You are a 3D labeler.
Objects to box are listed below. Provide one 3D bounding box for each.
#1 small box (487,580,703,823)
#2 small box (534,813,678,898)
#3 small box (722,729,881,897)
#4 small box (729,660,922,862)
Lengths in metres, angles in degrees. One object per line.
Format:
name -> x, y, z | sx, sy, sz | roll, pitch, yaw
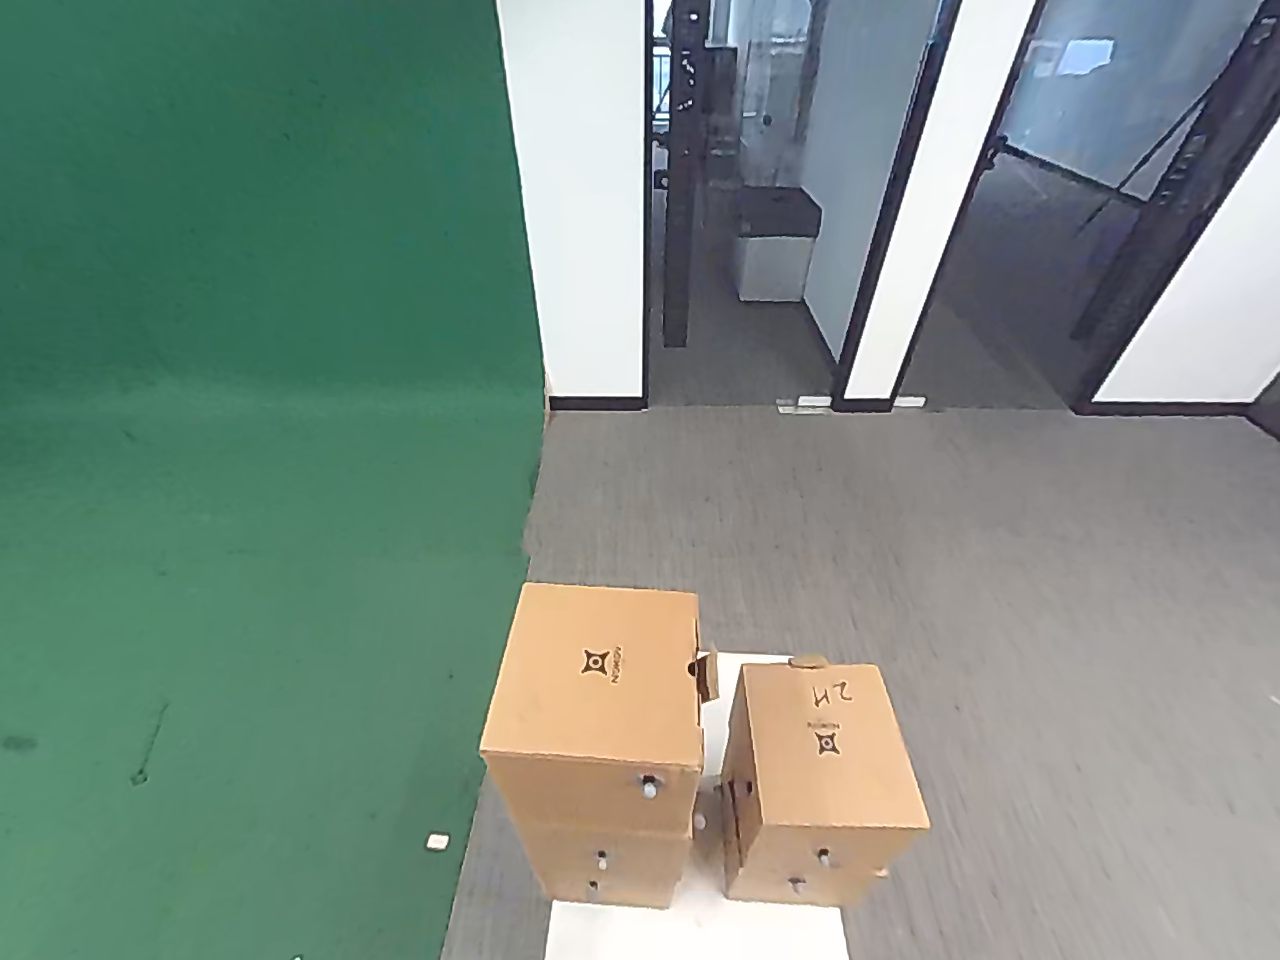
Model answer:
small box -> -0.034, 0.220, 0.538 | 0.179, 0.176, 0.168 | 4, 41, 1
small box -> -0.038, 0.464, 0.756 | 0.179, 0.176, 0.168 | 3, 43, 1
small box -> 0.209, 0.465, 0.759 | 0.179, 0.176, 0.168 | 2, 42, 3
small box -> 0.203, 0.339, 0.652 | 0.168, 0.176, 0.179 | 1, 42, 1
